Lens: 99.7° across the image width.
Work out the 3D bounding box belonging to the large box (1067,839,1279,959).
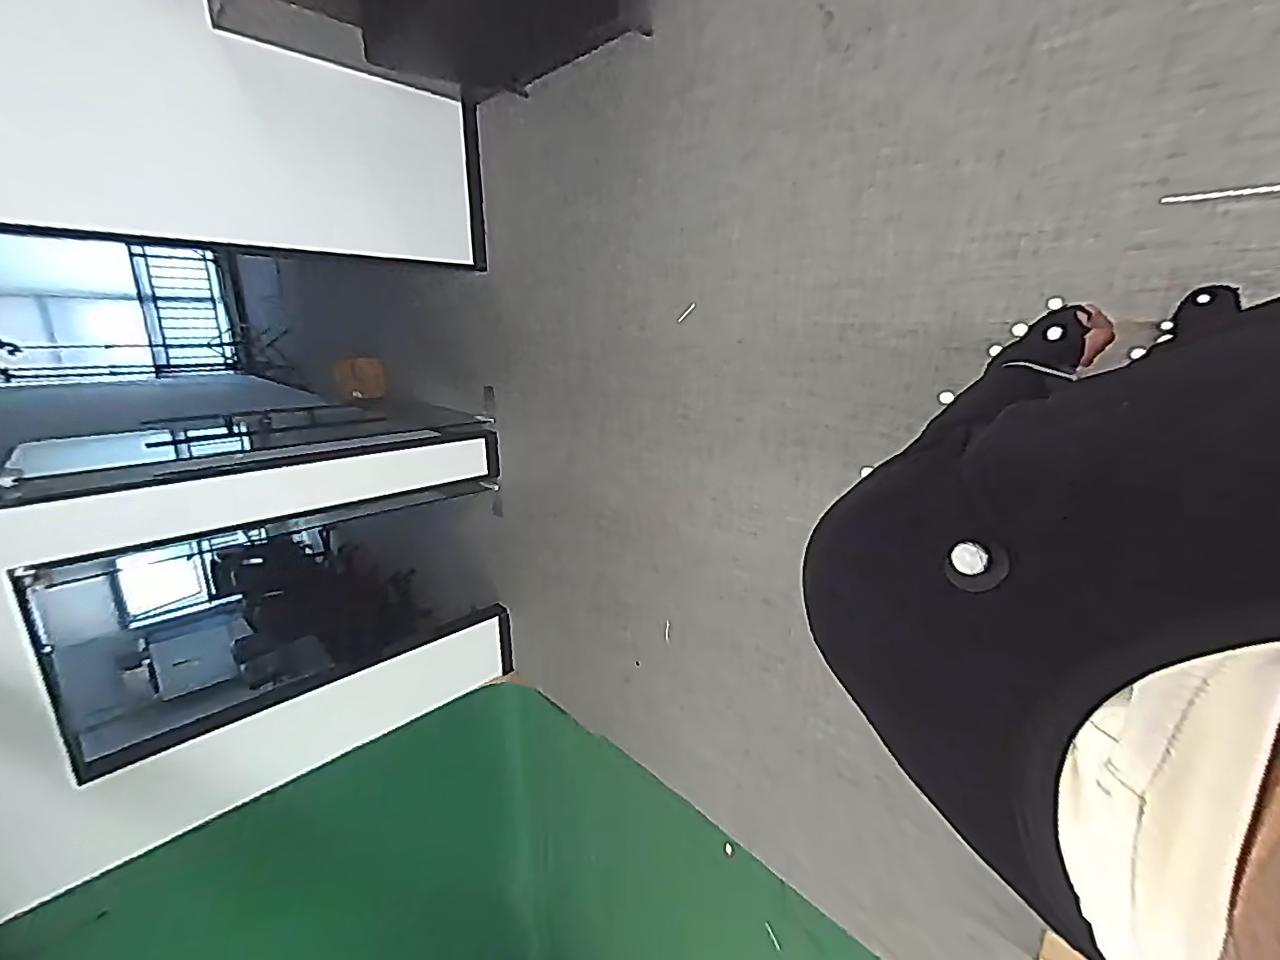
[{"bbox_3d":[1.256,1.152,1.235,0.408,0.320,0.320,14,110,45],"label":"large box"}]
